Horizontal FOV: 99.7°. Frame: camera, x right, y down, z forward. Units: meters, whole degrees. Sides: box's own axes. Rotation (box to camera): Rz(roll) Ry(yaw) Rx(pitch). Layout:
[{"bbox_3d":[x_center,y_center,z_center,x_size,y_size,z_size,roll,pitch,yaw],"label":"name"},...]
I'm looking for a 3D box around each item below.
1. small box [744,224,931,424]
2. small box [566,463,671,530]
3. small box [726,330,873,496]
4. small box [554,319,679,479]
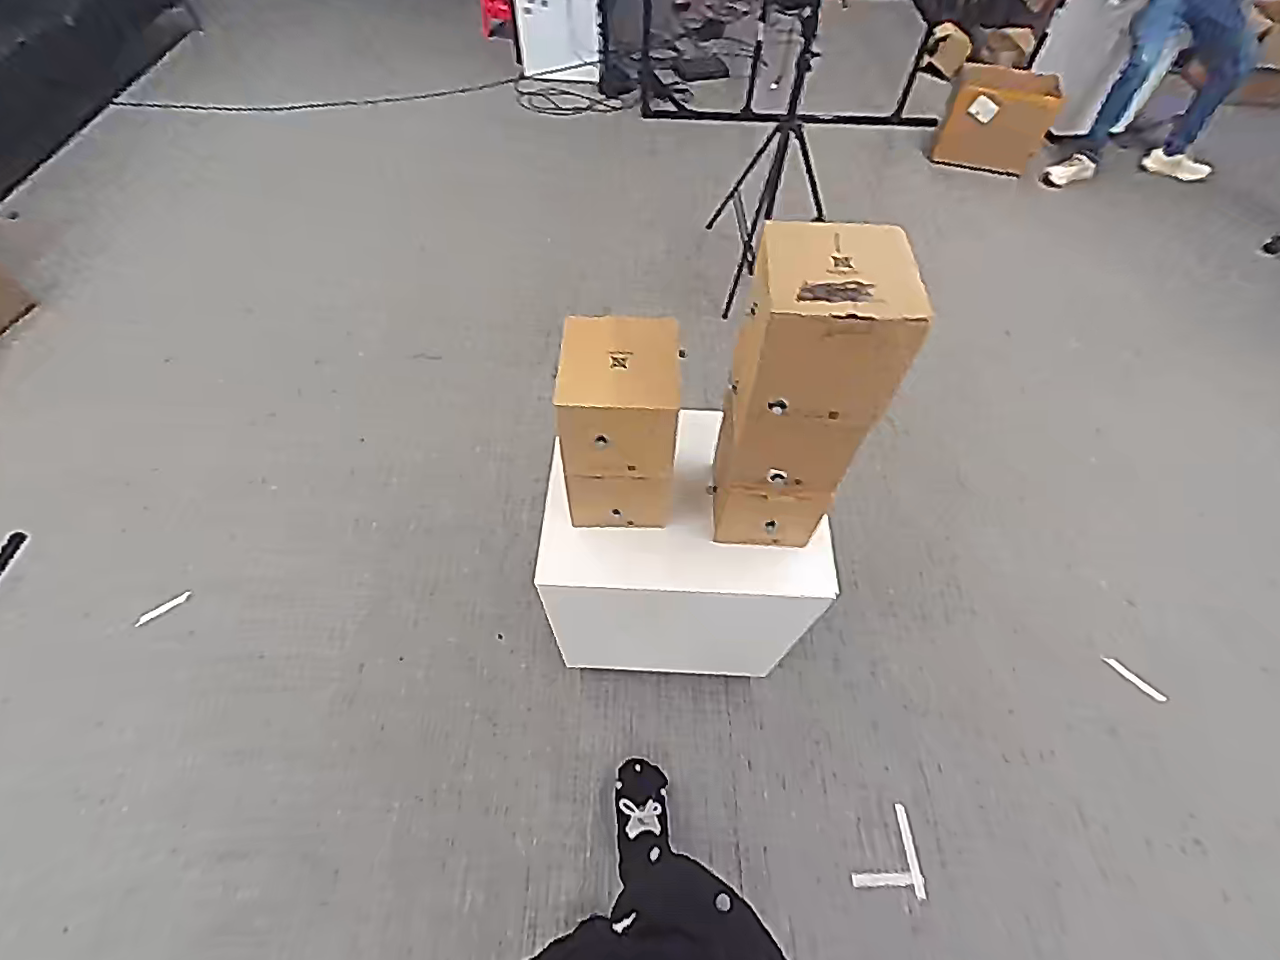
[{"bbox_3d":[0.223,-0.186,0.662,0.168,0.176,0.179,4,55,3],"label":"small box"},{"bbox_3d":[-0.035,-0.030,0.945,0.168,0.176,0.179,1,57,-1],"label":"small box"},{"bbox_3d":[0.221,-0.097,0.801,0.168,0.176,0.179,3,57,2],"label":"small box"},{"bbox_3d":[-0.029,-0.116,0.807,0.168,0.176,0.179,2,56,-1],"label":"small box"}]
